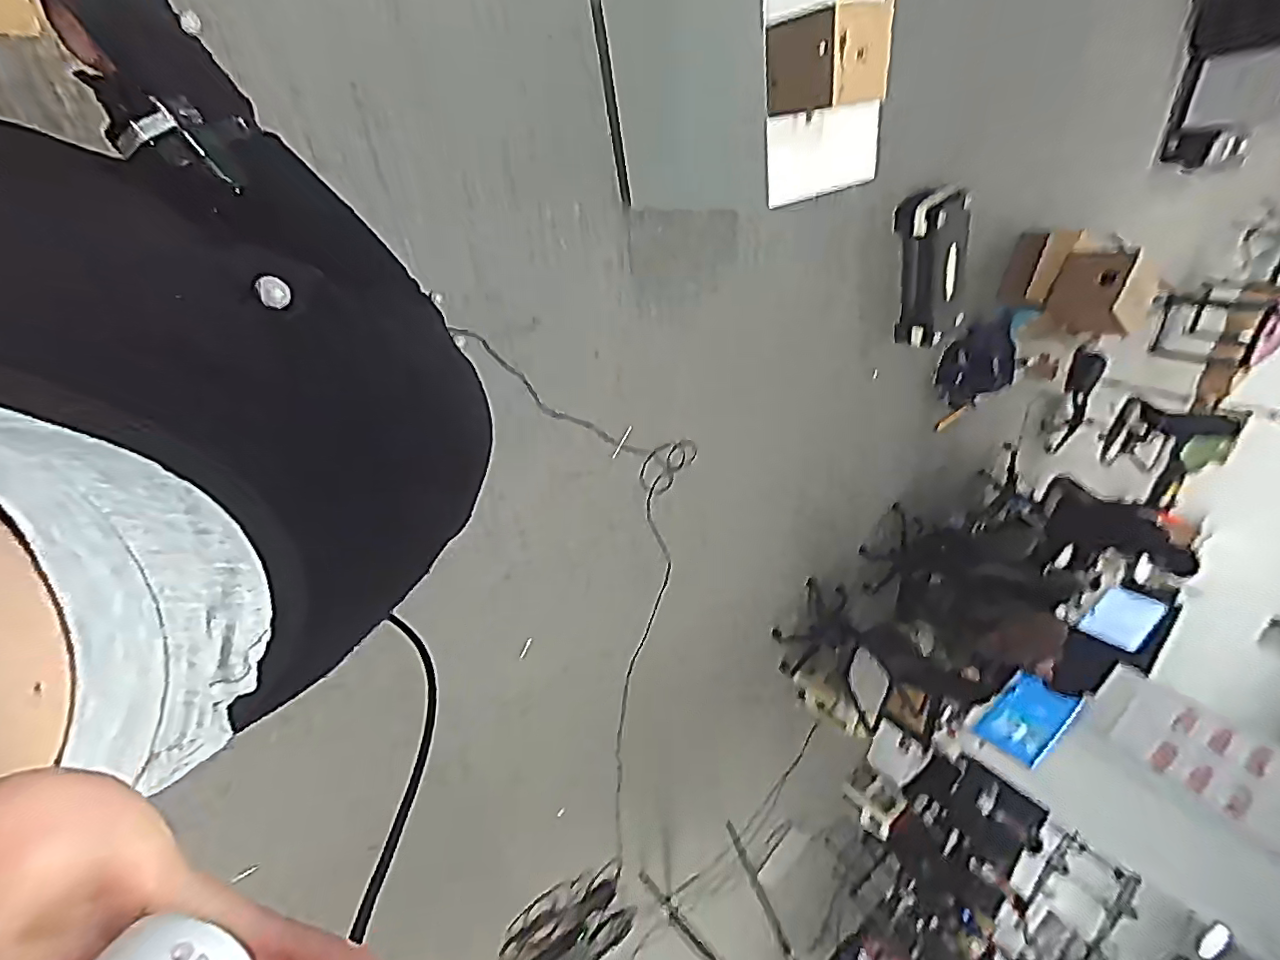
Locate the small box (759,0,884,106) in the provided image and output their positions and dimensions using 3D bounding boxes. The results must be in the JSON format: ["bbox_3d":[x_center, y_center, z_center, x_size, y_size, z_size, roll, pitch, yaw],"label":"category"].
[{"bbox_3d":[0.360,-0.866,1.078,0.179,0.176,0.168,-30,126,-27],"label":"small box"}]
